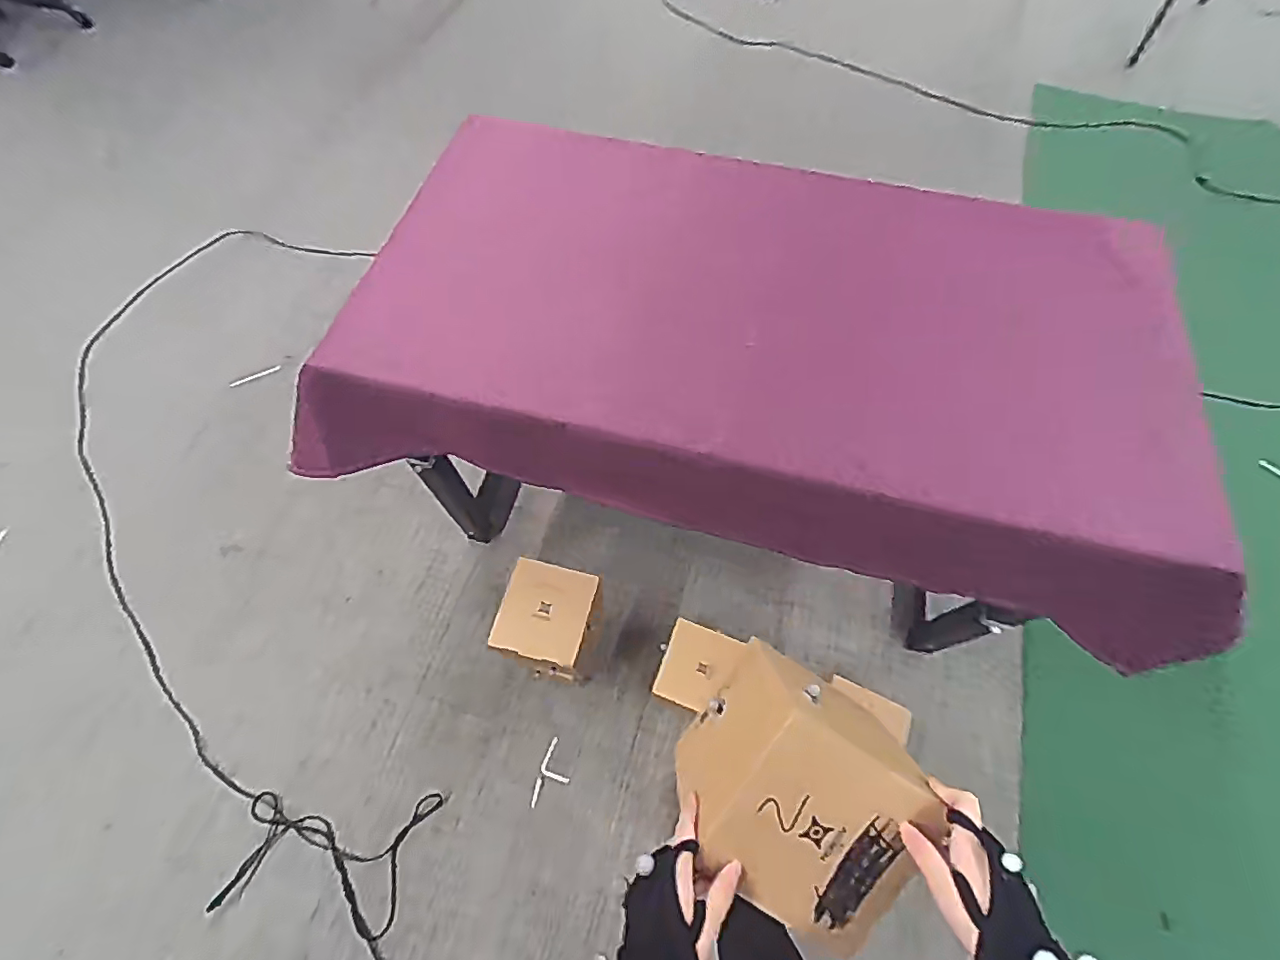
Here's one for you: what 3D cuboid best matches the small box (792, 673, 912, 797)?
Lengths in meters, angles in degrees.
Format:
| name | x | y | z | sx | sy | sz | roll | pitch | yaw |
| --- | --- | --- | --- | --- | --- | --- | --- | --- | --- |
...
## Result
| name | x | y | z | sx | sy | sz | roll | pitch | yaw |
| --- | --- | --- | --- | --- | --- | --- | --- | --- | --- |
| small box | 0.437 | 0.535 | 1.141 | 0.168 | 0.176 | 0.179 | 24 | 66 | 11 |
